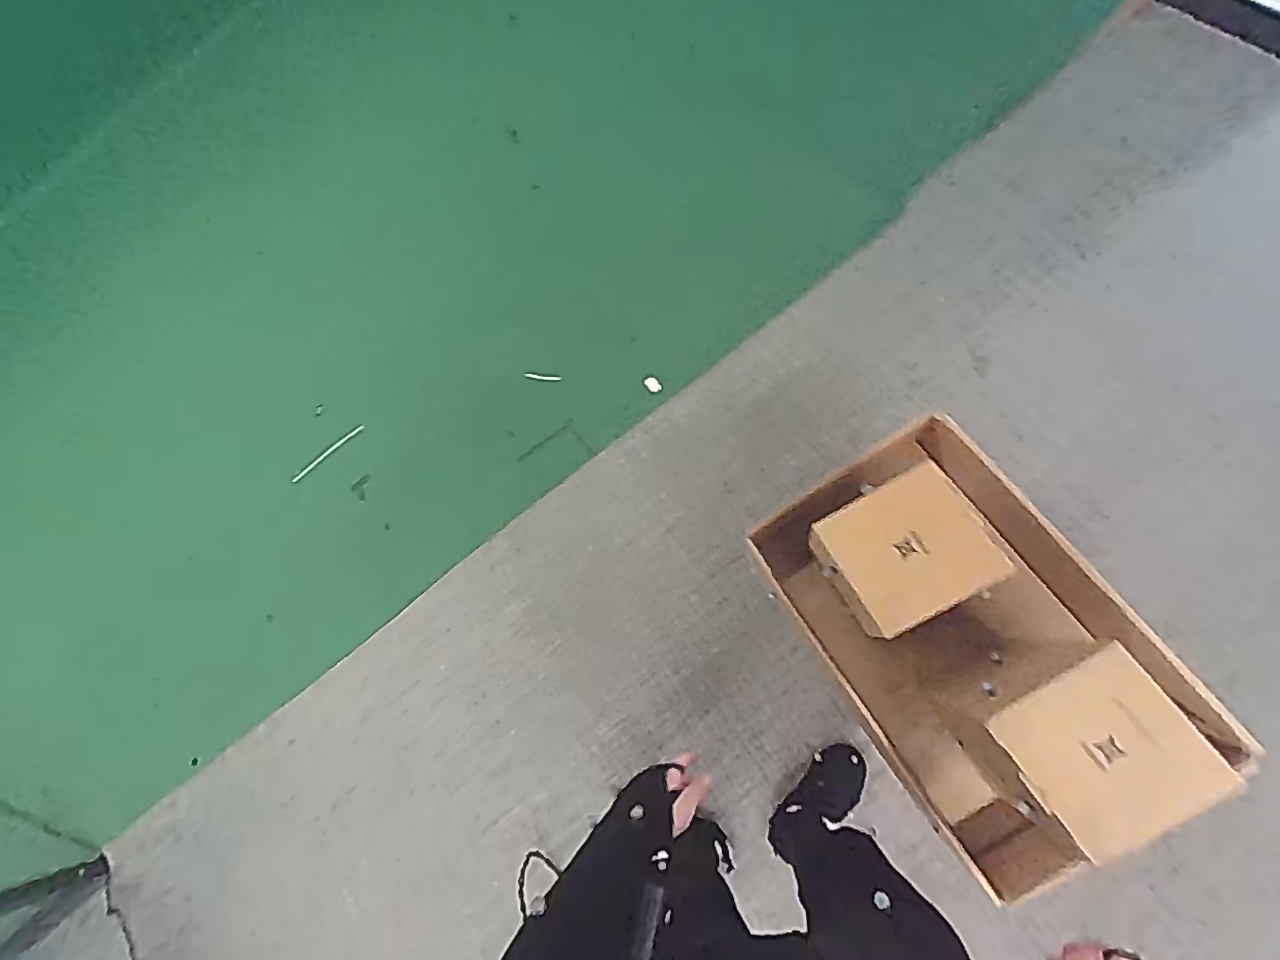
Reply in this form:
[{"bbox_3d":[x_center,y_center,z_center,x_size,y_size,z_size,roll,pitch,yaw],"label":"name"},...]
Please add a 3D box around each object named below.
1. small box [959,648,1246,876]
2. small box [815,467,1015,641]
[{"bbox_3d":[0.522,0.320,0.652,0.179,0.176,0.168,-33,70,4],"label":"small box"},{"bbox_3d":[0.362,0.112,0.755,0.179,0.176,0.168,-30,69,5],"label":"small box"}]
